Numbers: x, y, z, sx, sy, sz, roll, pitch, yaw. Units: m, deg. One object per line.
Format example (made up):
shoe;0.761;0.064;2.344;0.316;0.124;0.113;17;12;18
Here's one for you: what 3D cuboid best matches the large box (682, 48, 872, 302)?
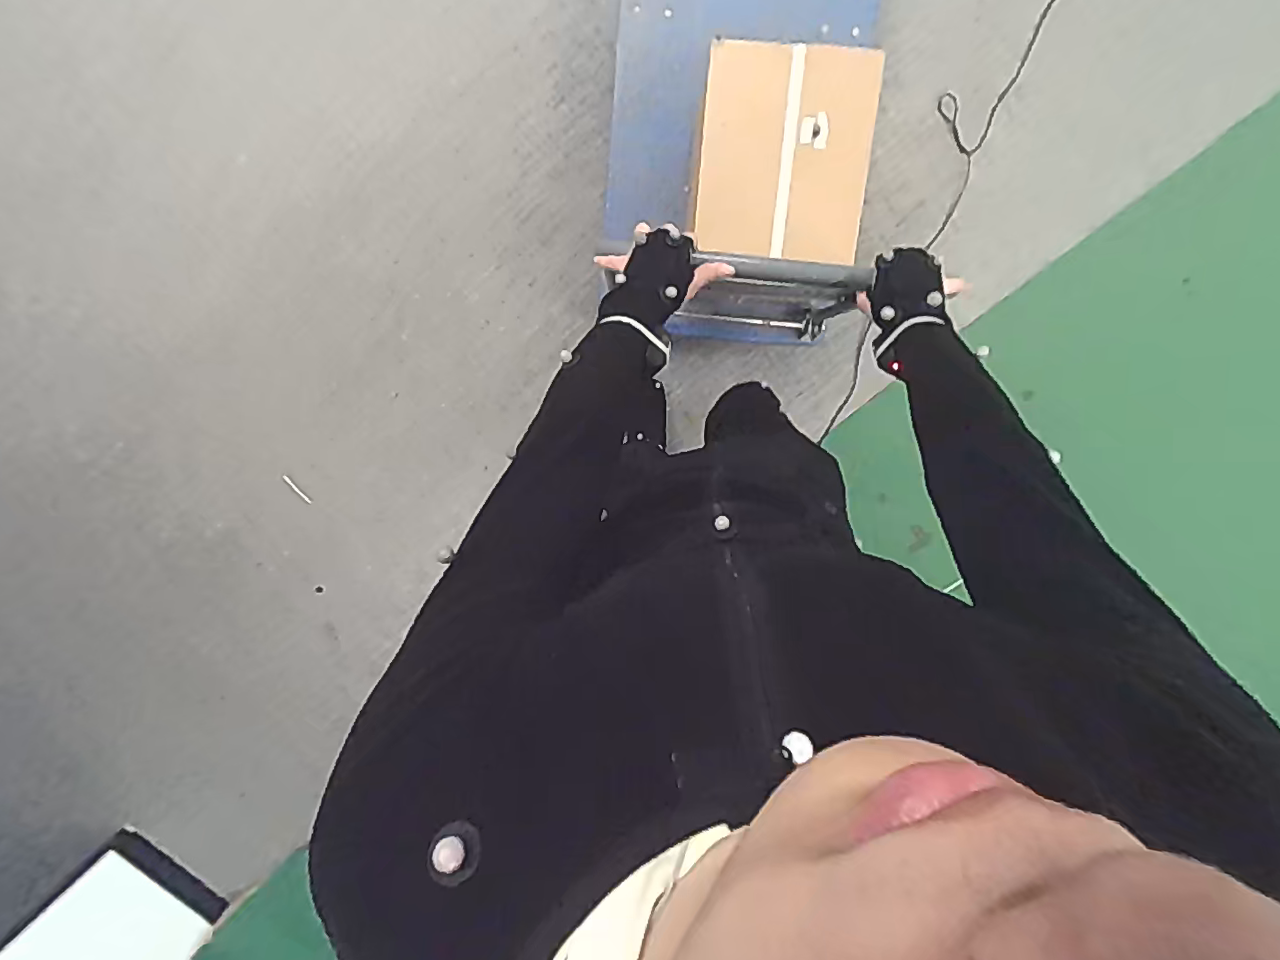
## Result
large box;0.263;-0.614;1.169;0.320;0.320;0.408;4;102;-1
